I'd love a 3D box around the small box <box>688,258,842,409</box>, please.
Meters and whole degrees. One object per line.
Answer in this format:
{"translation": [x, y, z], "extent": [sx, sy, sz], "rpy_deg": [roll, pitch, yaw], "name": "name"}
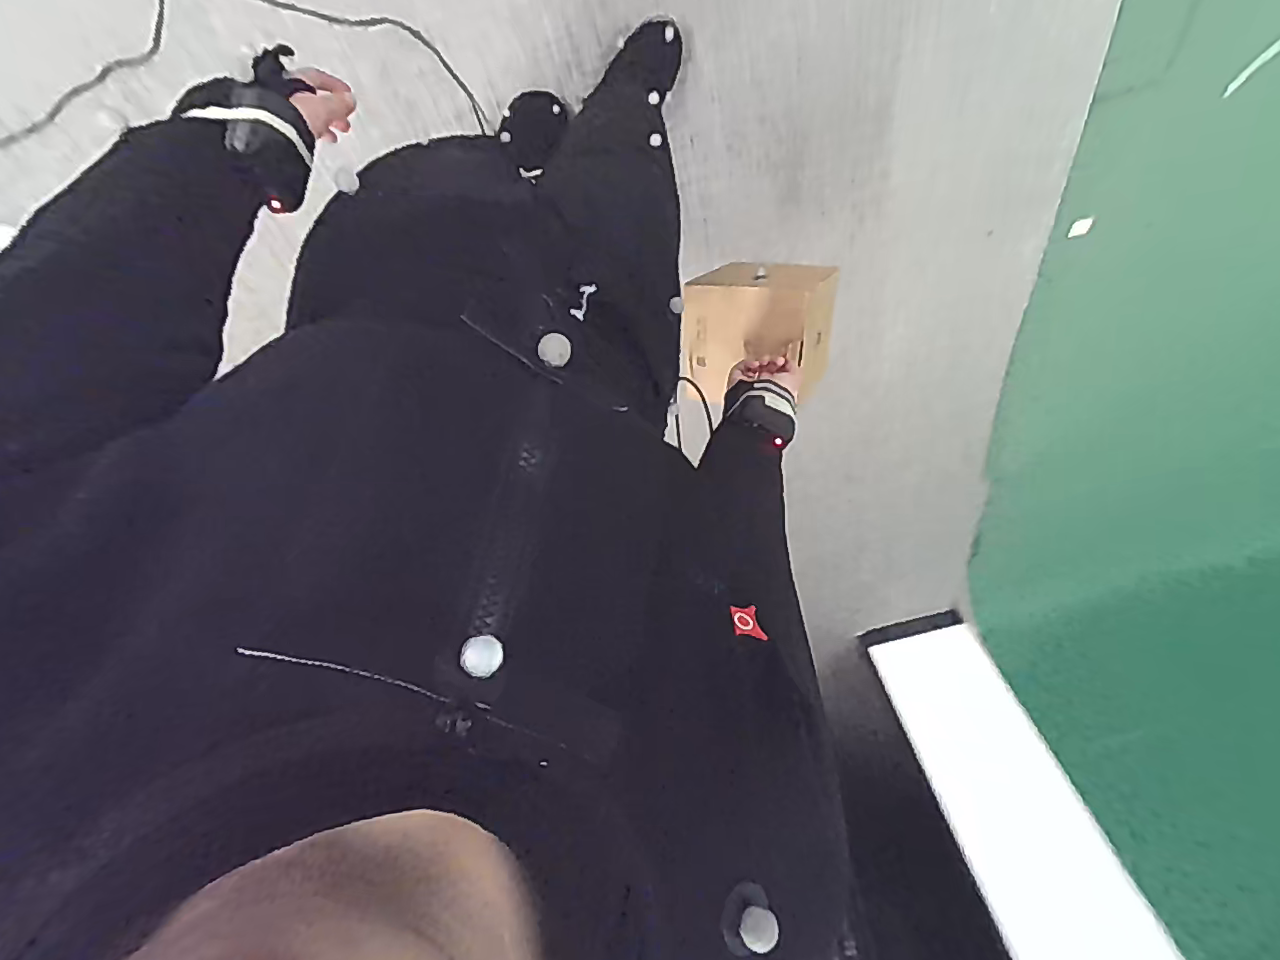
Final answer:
{"translation": [0.173, -0.212, 0.760], "extent": [0.176, 0.179, 0.168], "rpy_deg": [12, 124, 27], "name": "small box"}
